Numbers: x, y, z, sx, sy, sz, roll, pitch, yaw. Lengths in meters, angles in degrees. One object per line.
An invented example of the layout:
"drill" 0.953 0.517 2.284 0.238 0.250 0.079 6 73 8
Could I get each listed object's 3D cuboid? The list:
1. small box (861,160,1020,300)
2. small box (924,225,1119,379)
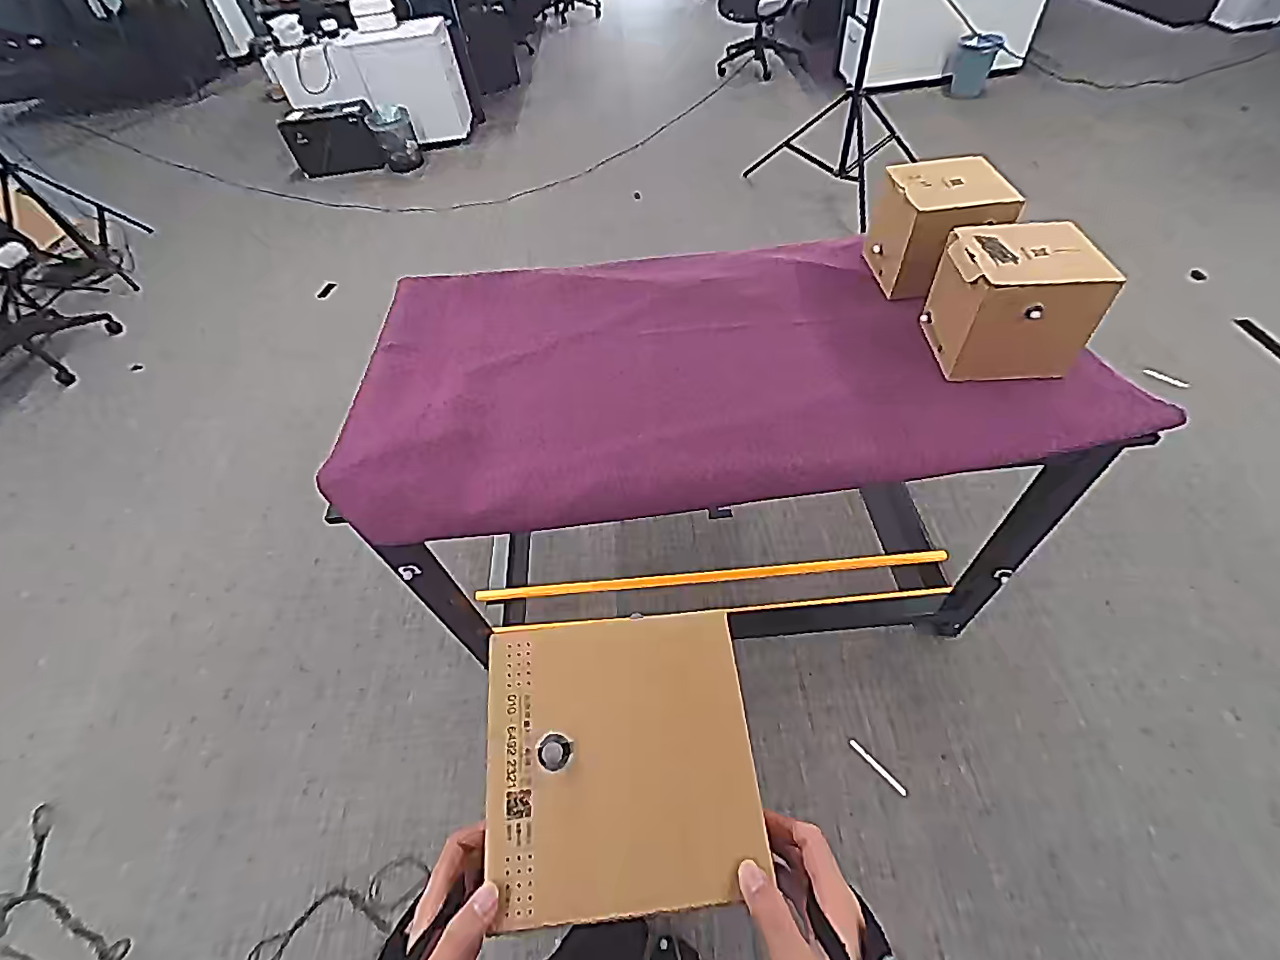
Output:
"small box" 0.530 -0.451 0.985 0.179 0.176 0.168 -6 52 2
"small box" 0.564 -0.270 0.837 0.179 0.176 0.168 -1 50 6
